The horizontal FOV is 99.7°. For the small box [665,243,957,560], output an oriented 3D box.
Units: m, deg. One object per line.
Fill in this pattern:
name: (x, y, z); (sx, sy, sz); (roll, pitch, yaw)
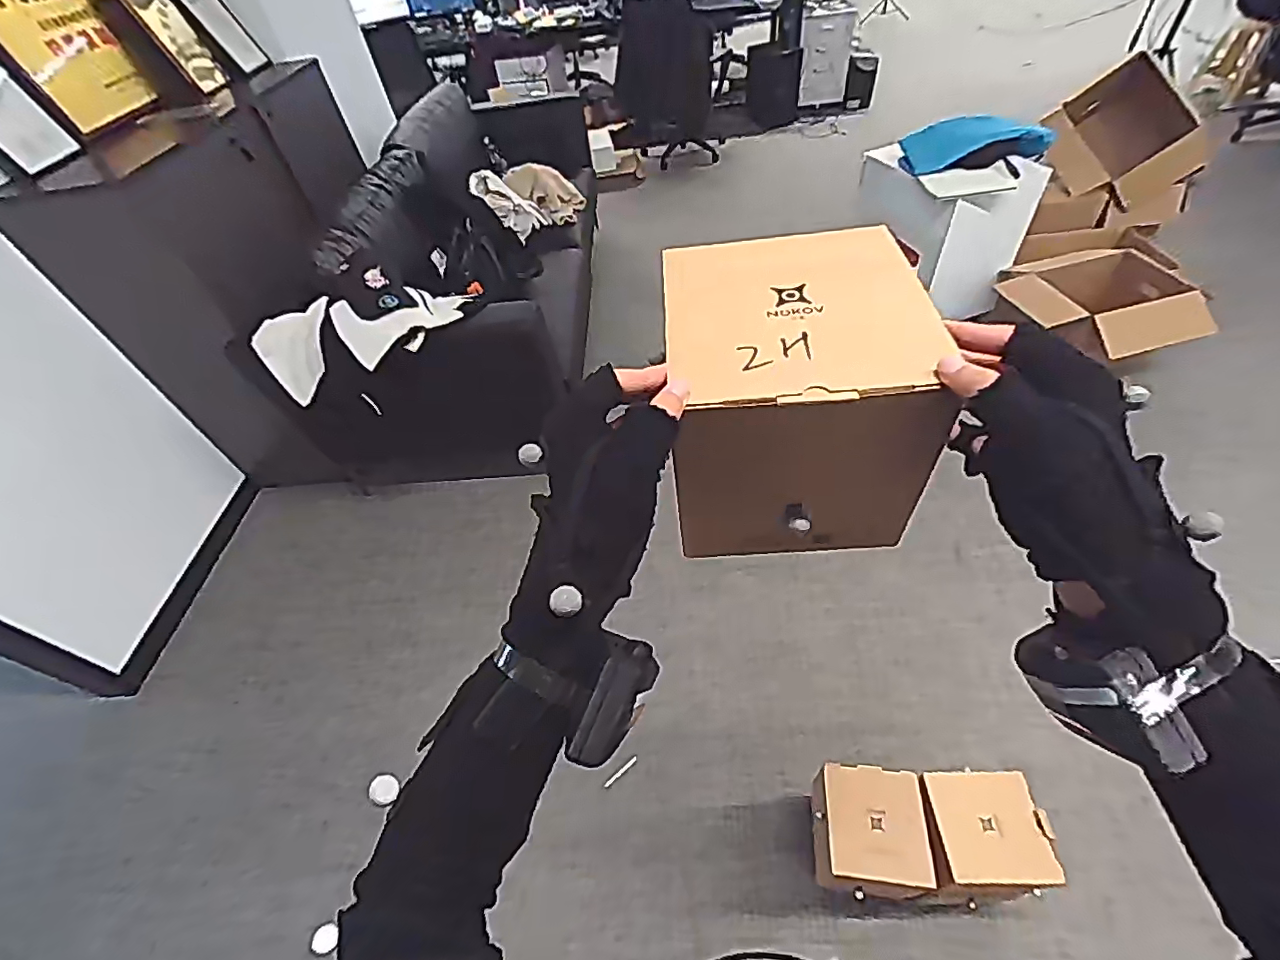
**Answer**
small box: (0.106, -0.057, 0.421); (0.168, 0.176, 0.179); (-4, 50, 6)
